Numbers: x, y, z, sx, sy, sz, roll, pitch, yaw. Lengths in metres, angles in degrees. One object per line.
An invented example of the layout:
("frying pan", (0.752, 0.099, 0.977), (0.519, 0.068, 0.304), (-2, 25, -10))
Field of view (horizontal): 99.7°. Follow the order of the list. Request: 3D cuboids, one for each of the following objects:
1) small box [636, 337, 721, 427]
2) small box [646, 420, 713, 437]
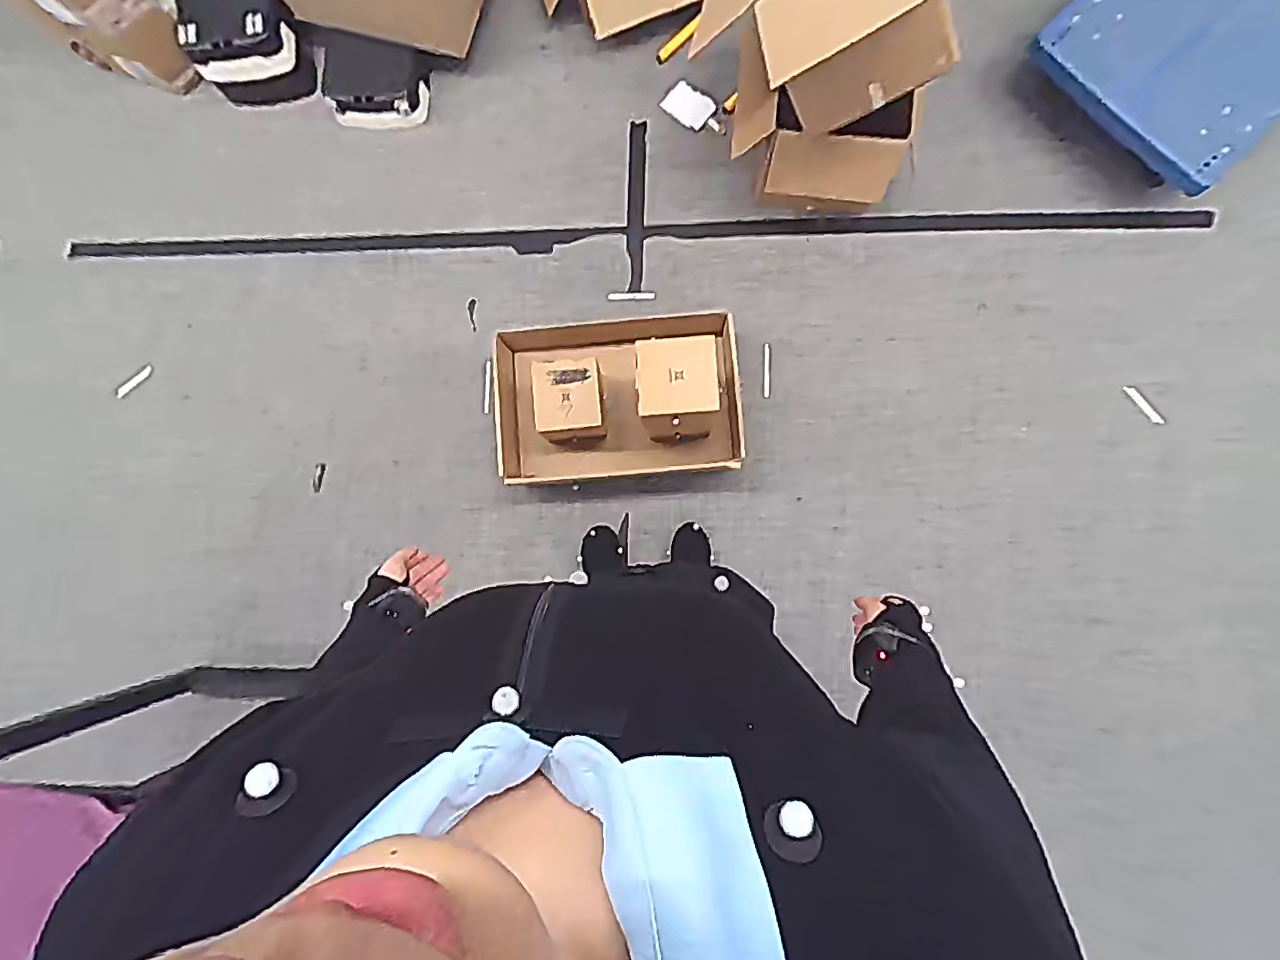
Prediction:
("small box", (0.086, -0.218, 1.239), (0.179, 0.176, 0.168), (-3, 86, 4))
("small box", (0.099, -0.208, 1.400), (0.168, 0.176, 0.179), (-3, 85, 3))
